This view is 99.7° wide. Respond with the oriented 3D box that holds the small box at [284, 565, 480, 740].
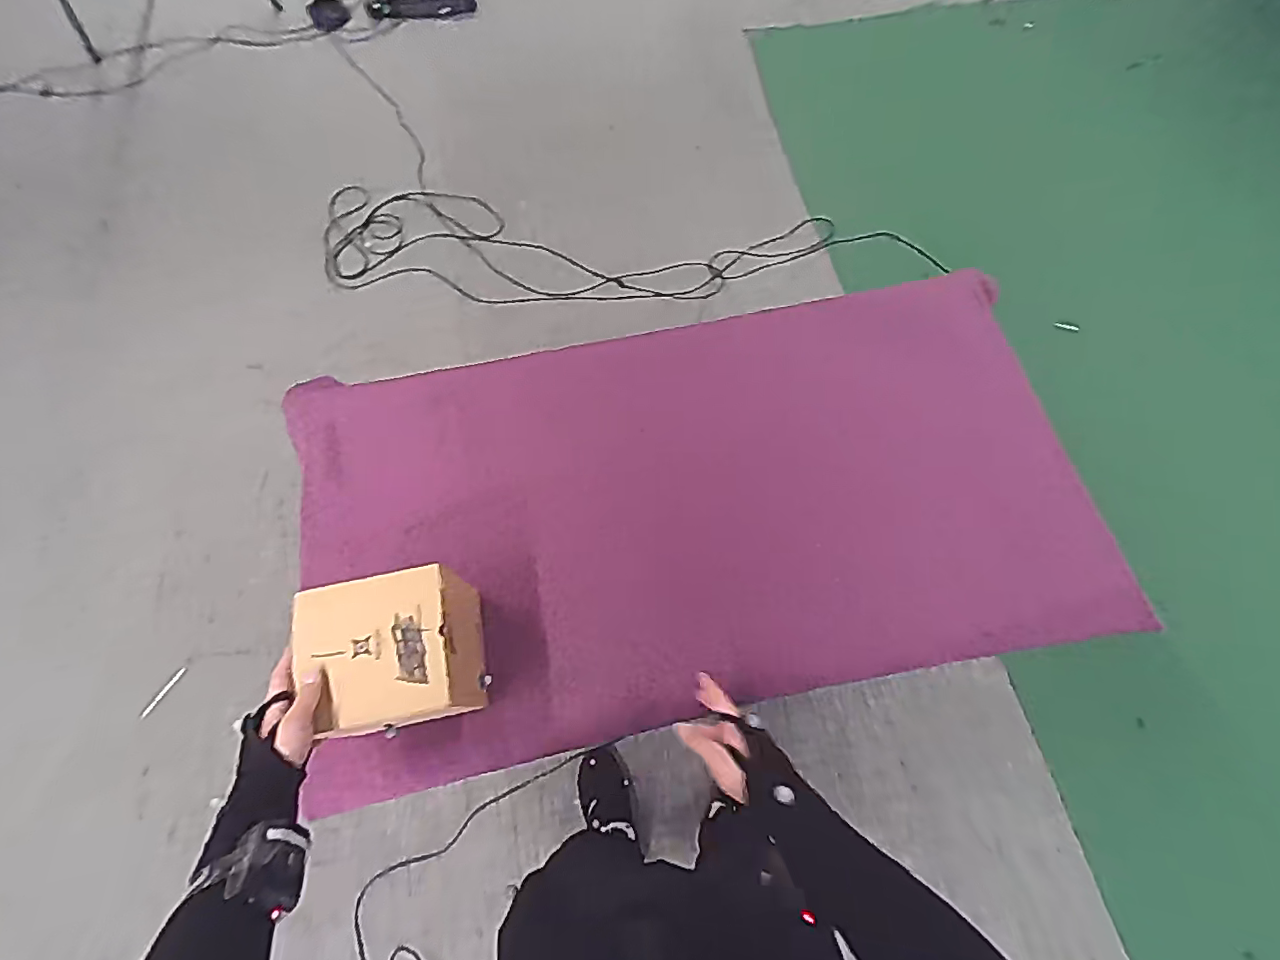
[{"bbox_3d":[-0.311,0.219,0.685,0.179,0.176,0.168,-11,68,-4],"label":"small box"}]
